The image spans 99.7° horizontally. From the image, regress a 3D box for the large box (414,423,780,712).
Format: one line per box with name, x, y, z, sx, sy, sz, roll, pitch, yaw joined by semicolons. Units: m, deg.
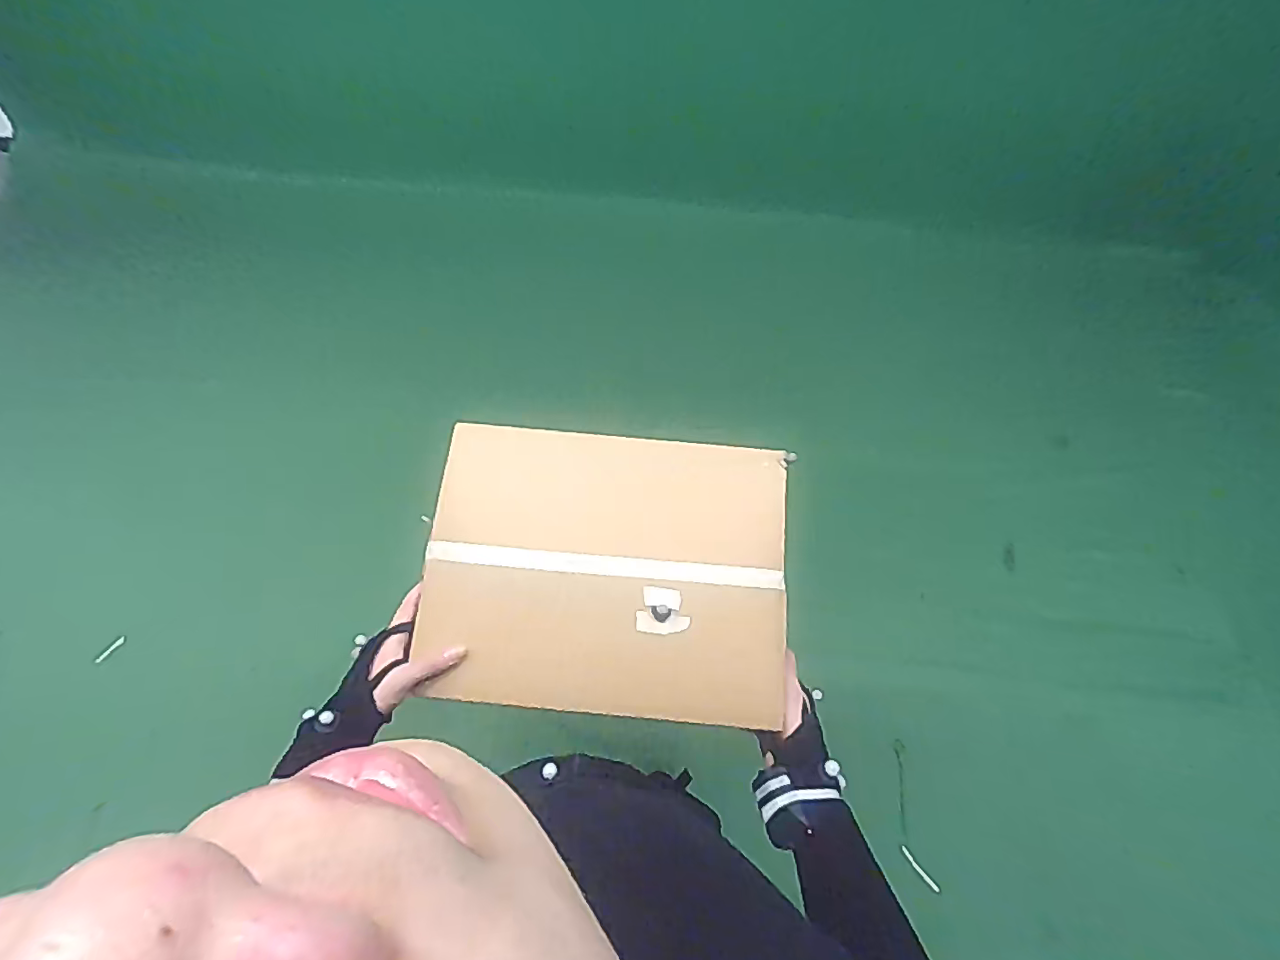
large box;-0.042;0.133;0.764;0.408;0.320;0.320;5;74;0
